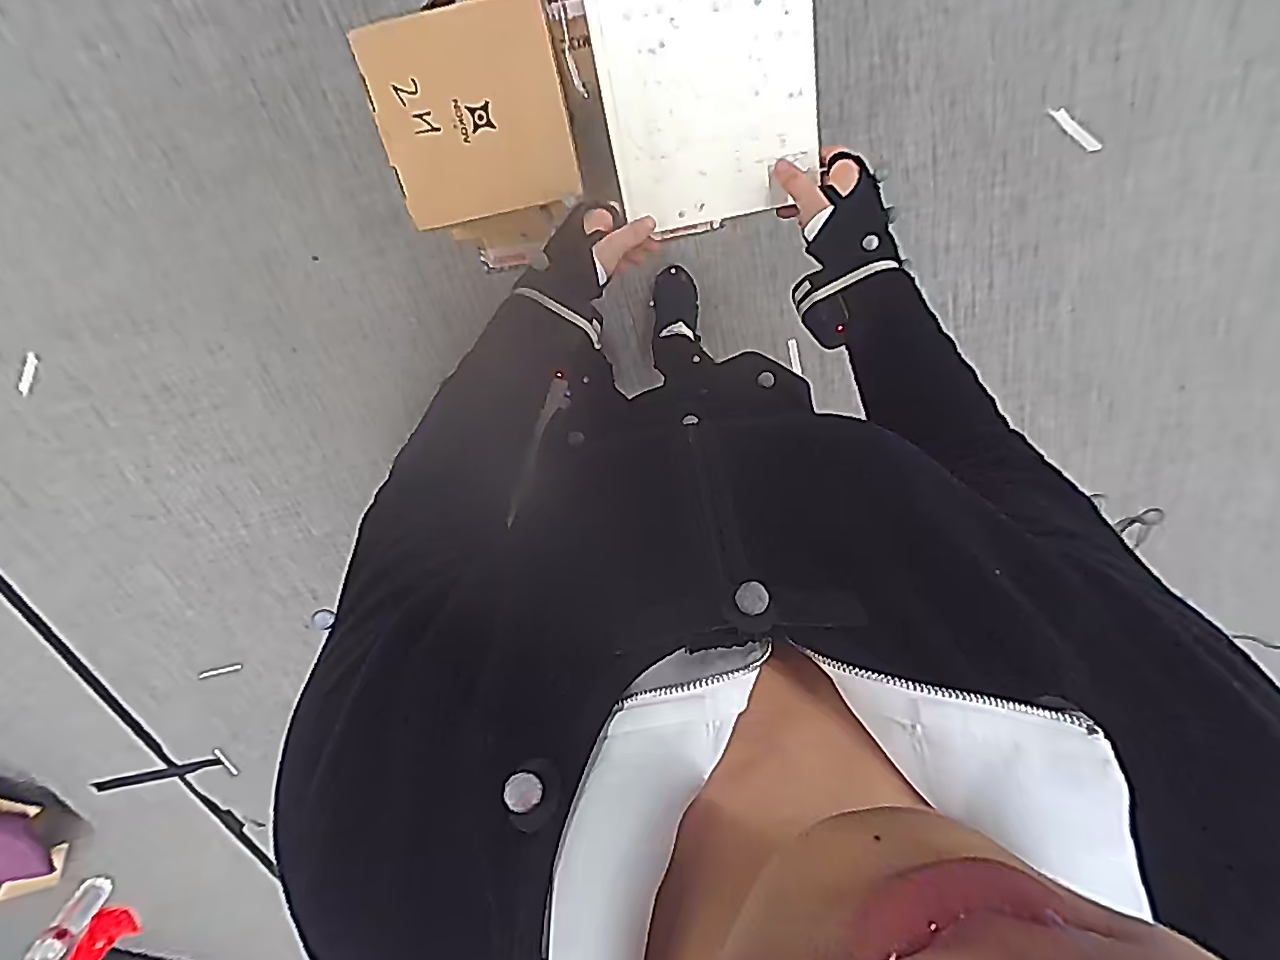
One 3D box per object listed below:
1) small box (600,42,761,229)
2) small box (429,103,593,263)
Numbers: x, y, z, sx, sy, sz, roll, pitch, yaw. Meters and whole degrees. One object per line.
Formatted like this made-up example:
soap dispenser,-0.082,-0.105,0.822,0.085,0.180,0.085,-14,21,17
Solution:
small box,0.048,-0.457,0.741,0.179,0.176,0.168,-15,116,3
small box,-0.163,-0.407,0.754,0.179,0.176,0.168,-7,117,2
